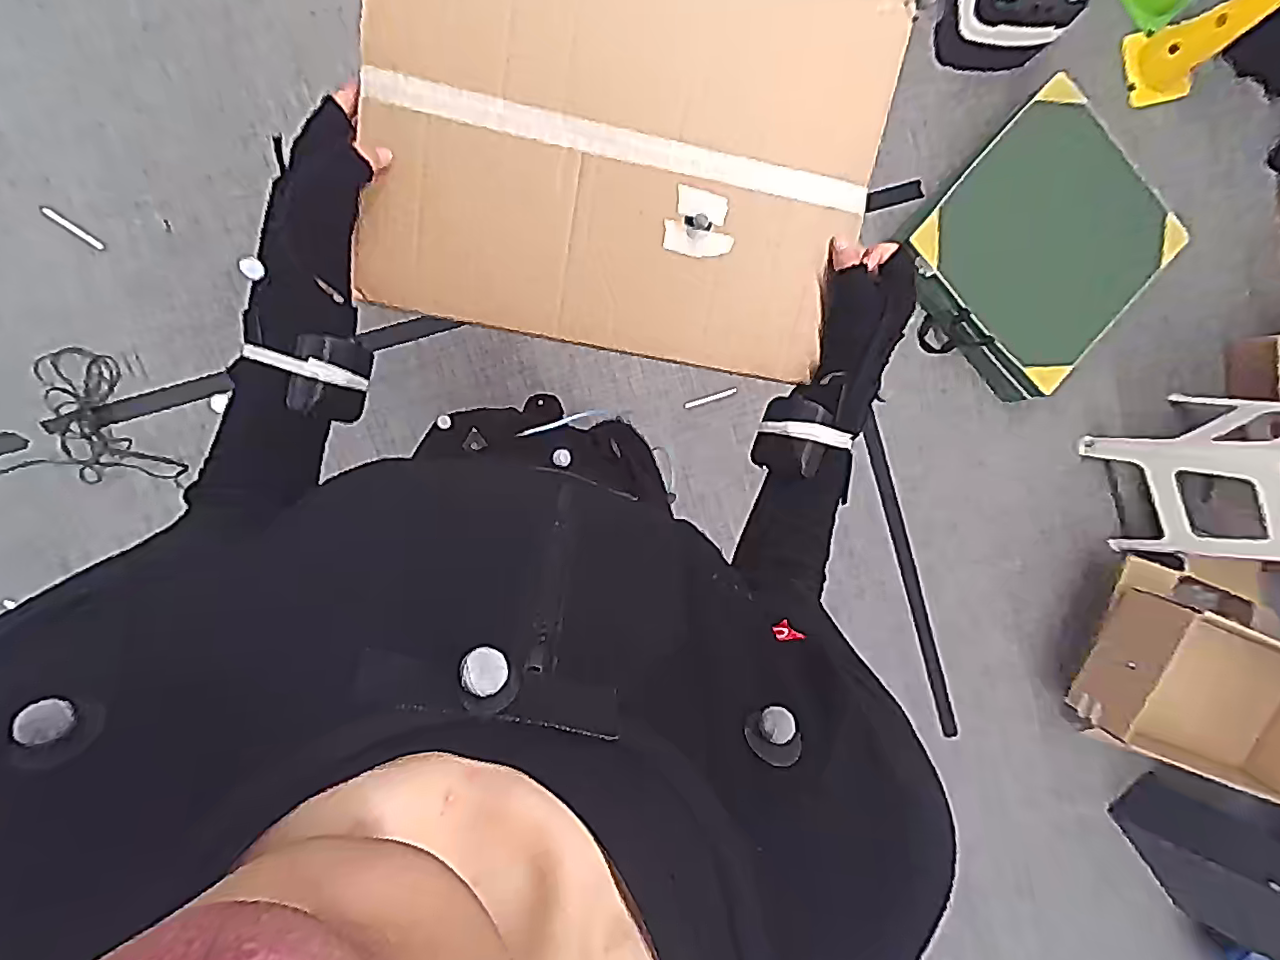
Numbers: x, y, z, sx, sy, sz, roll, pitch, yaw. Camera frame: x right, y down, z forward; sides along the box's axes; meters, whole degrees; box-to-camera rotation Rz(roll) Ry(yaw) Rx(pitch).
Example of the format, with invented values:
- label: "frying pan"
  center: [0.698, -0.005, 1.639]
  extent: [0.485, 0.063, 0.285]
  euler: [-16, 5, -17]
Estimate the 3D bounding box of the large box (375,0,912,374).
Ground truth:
- label: "large box"
  center: [-0.018, -0.313, 0.582]
  extent: [0.408, 0.320, 0.320]
  euler: [9, 106, -9]
